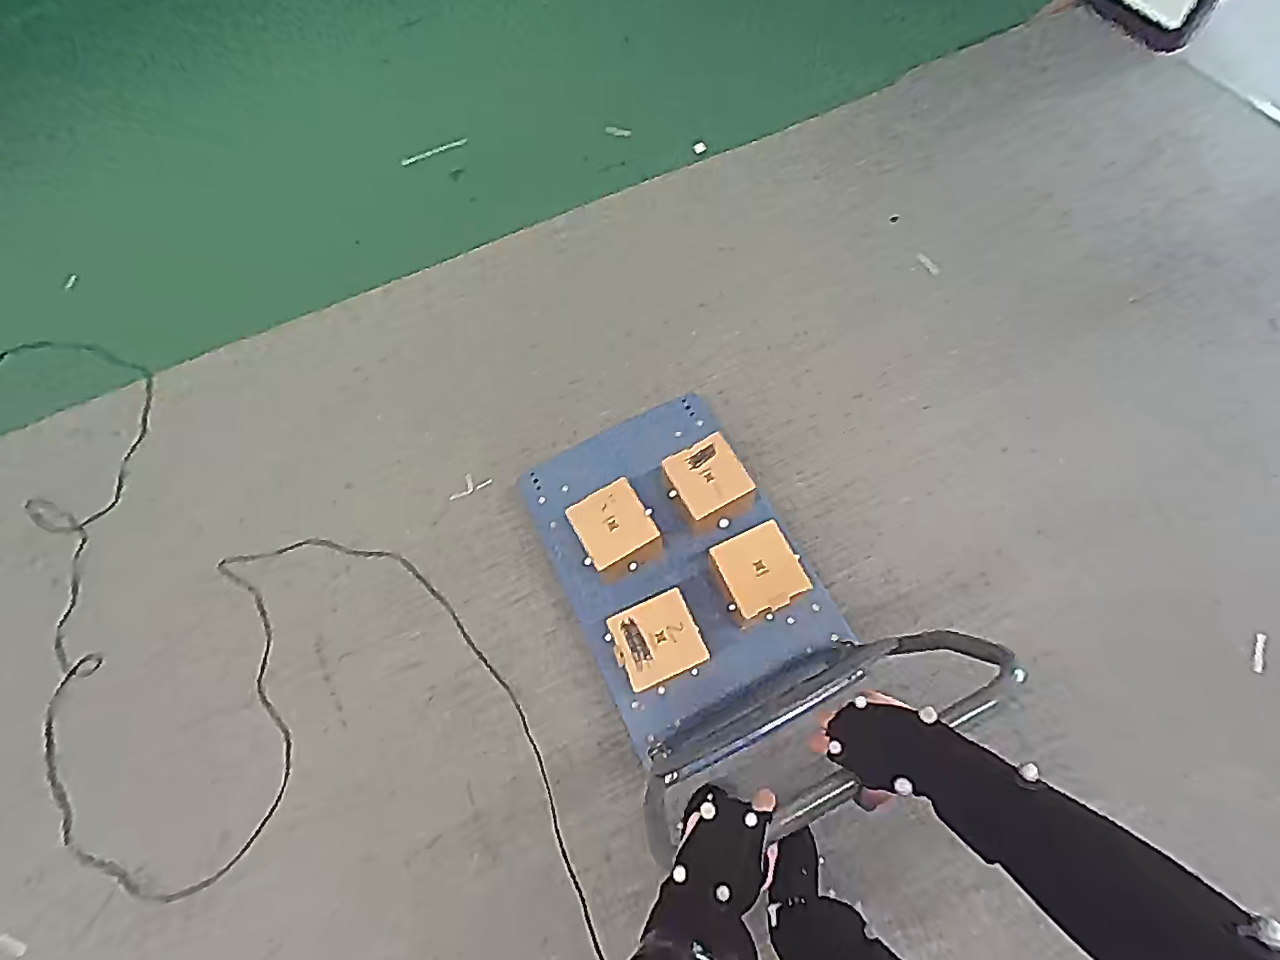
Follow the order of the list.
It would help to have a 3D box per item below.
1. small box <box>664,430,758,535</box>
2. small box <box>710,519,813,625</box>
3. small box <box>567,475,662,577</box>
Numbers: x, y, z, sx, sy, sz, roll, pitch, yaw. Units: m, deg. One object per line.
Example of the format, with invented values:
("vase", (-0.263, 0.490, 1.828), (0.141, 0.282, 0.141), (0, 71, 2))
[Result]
("small box", (0.173, 0.012, 1.354), (0.168, 0.176, 0.179), (-27, 69, -5))
("small box", (0.273, 0.219, 1.263), (0.168, 0.176, 0.179), (-24, 69, -5))
("small box", (-0.056, 0.123, 1.330), (0.168, 0.176, 0.179), (-29, 68, -7))
